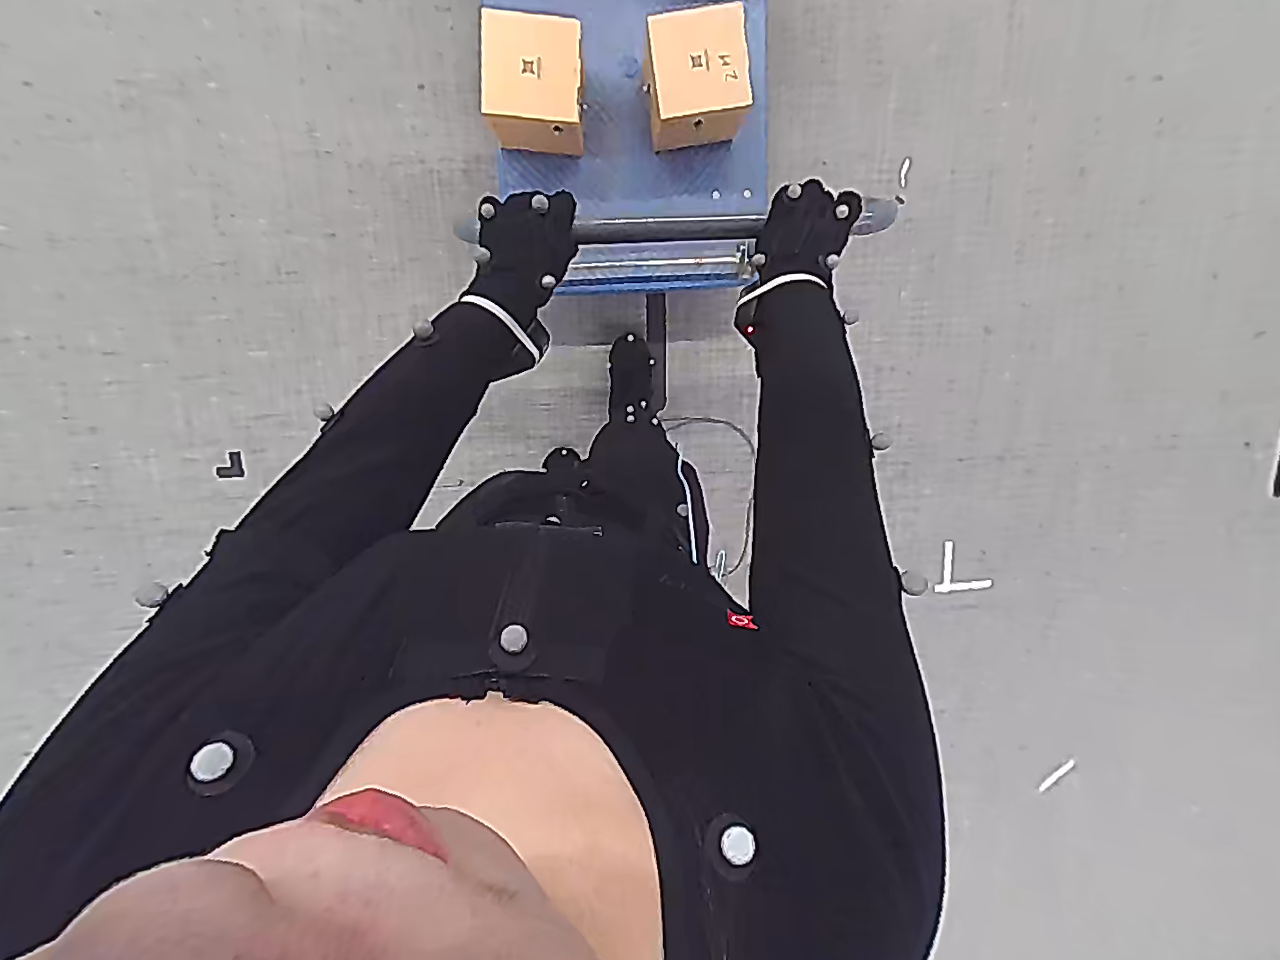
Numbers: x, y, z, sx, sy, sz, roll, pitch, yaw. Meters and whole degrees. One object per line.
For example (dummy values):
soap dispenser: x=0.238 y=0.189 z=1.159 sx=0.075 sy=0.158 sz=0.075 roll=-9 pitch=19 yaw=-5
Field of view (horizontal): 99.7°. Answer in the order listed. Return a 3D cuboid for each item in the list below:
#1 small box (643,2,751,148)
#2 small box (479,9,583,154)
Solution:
small box: x=0.102 y=-0.767 z=1.044 sx=0.179 sy=0.176 sz=0.168 roll=-9 pitch=104 yaw=-1
small box: x=-0.202 y=-0.746 z=1.032 sx=0.179 sy=0.176 sz=0.168 roll=2 pitch=103 yaw=-5
